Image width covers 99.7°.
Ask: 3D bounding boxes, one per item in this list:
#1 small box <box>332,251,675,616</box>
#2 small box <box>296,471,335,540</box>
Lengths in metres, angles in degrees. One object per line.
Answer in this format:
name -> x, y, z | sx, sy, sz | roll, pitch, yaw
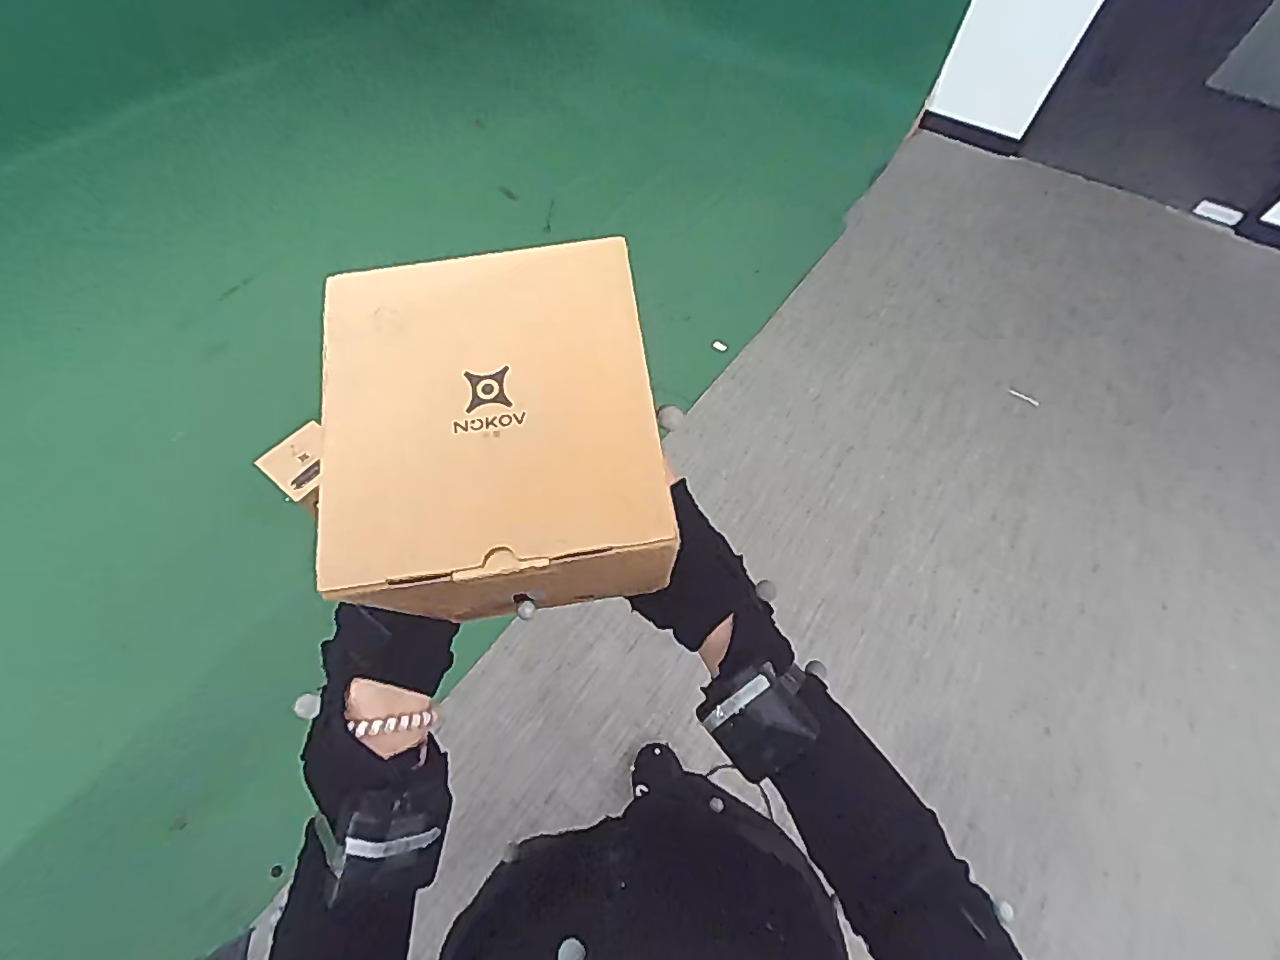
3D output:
small box -> -0.075, -0.015, 0.358 | 0.168, 0.176, 0.179 | -9, 72, -1
small box -> -0.803, 0.091, 1.515 | 0.179, 0.176, 0.168 | 37, 66, 19
